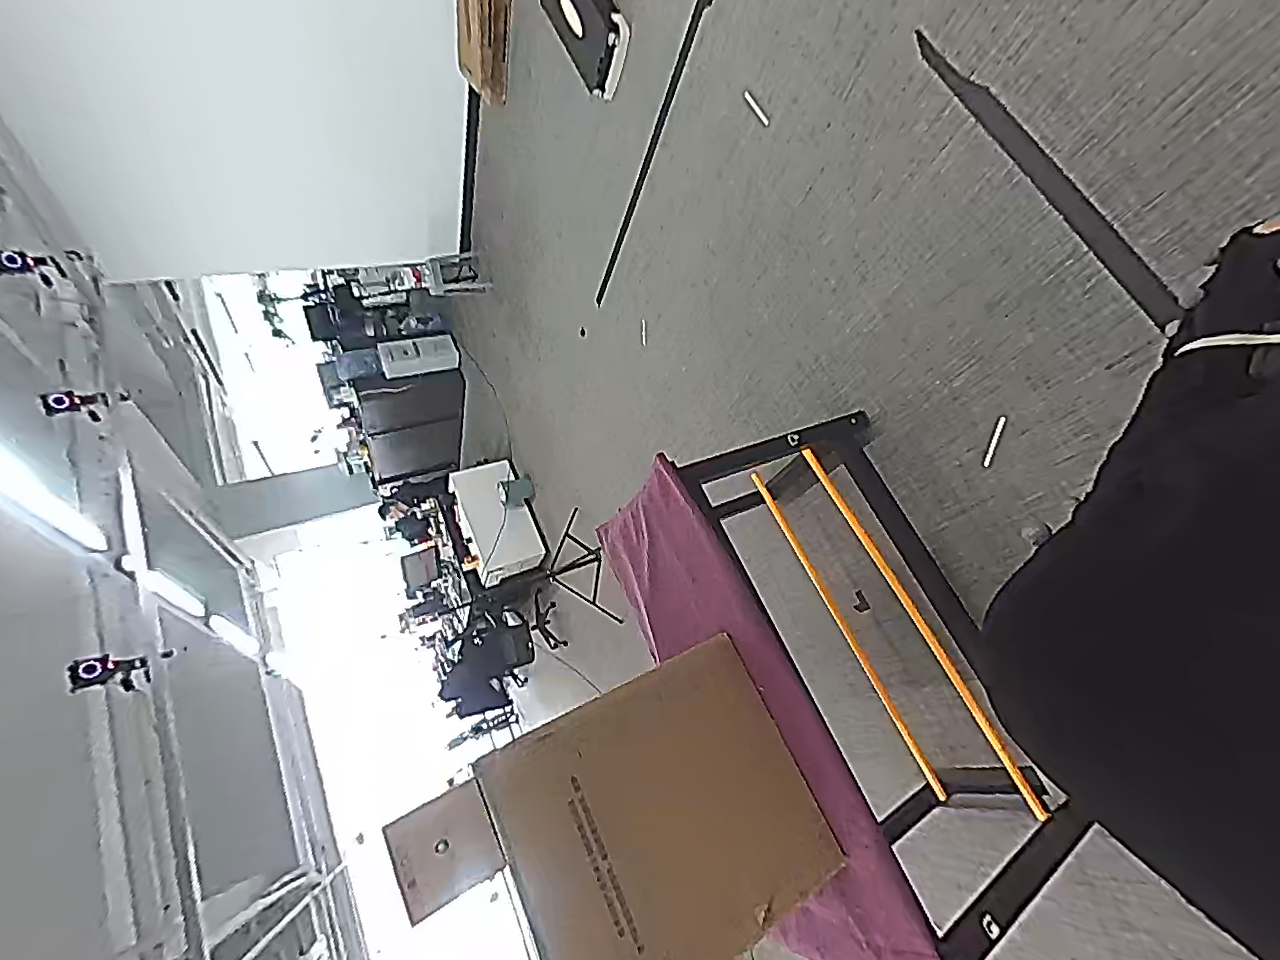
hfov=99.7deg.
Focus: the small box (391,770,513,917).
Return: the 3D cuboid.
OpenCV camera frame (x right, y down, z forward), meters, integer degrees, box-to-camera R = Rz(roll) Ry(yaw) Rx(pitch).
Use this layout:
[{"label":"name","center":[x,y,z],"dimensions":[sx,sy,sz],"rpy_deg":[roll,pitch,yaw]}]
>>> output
[{"label":"small box","center":[-0.356,0.670,1.015],"dimensions":[0.168,0.176,0.179],"rpy_deg":[64,151,16]}]
